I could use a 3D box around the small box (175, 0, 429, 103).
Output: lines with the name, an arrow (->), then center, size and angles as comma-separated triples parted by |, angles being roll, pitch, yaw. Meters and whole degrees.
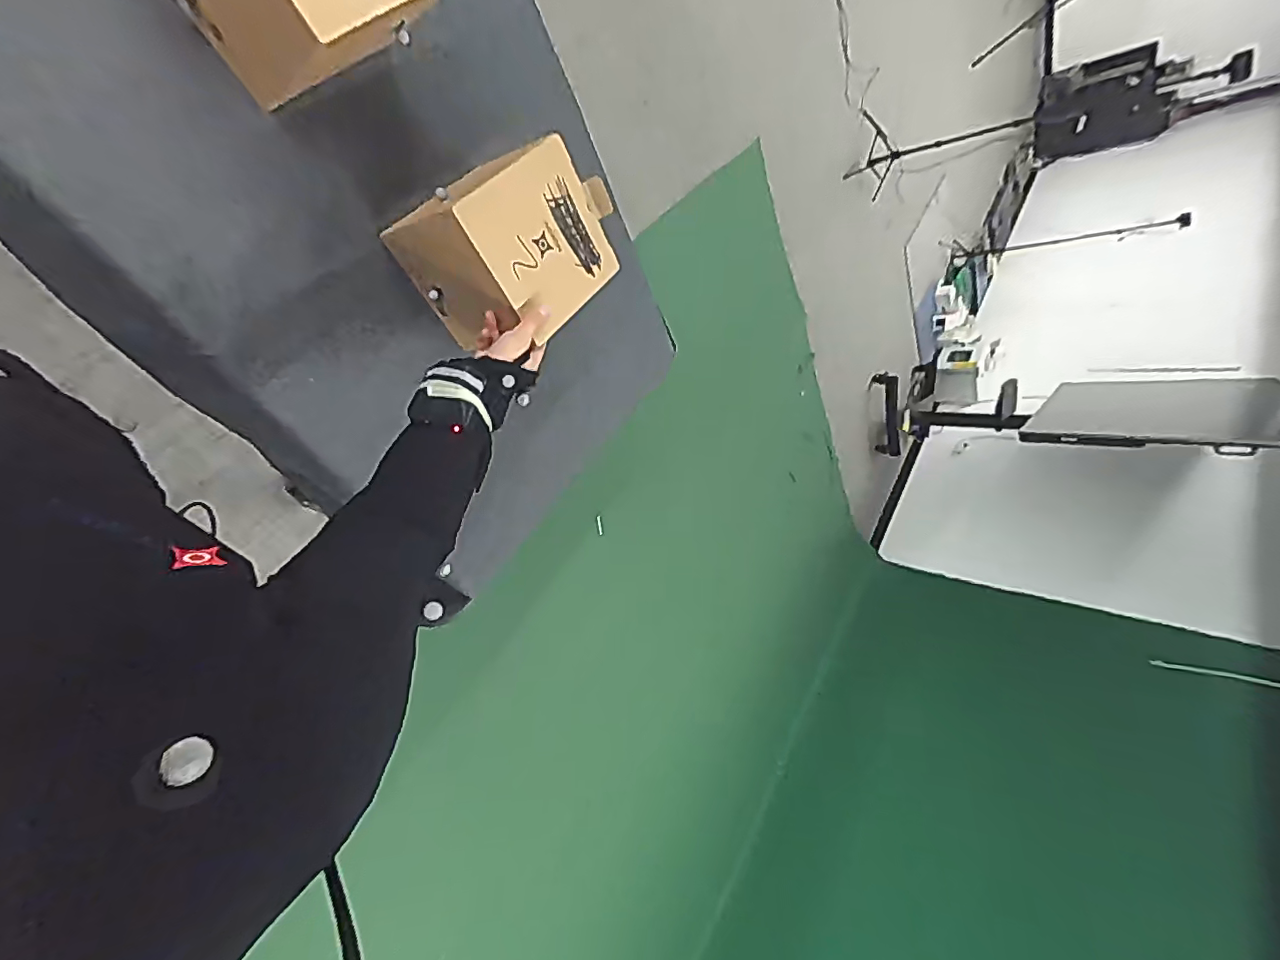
small box -> -0.305, -0.475, 0.470 | 0.179, 0.176, 0.168 | -57, 133, -26
